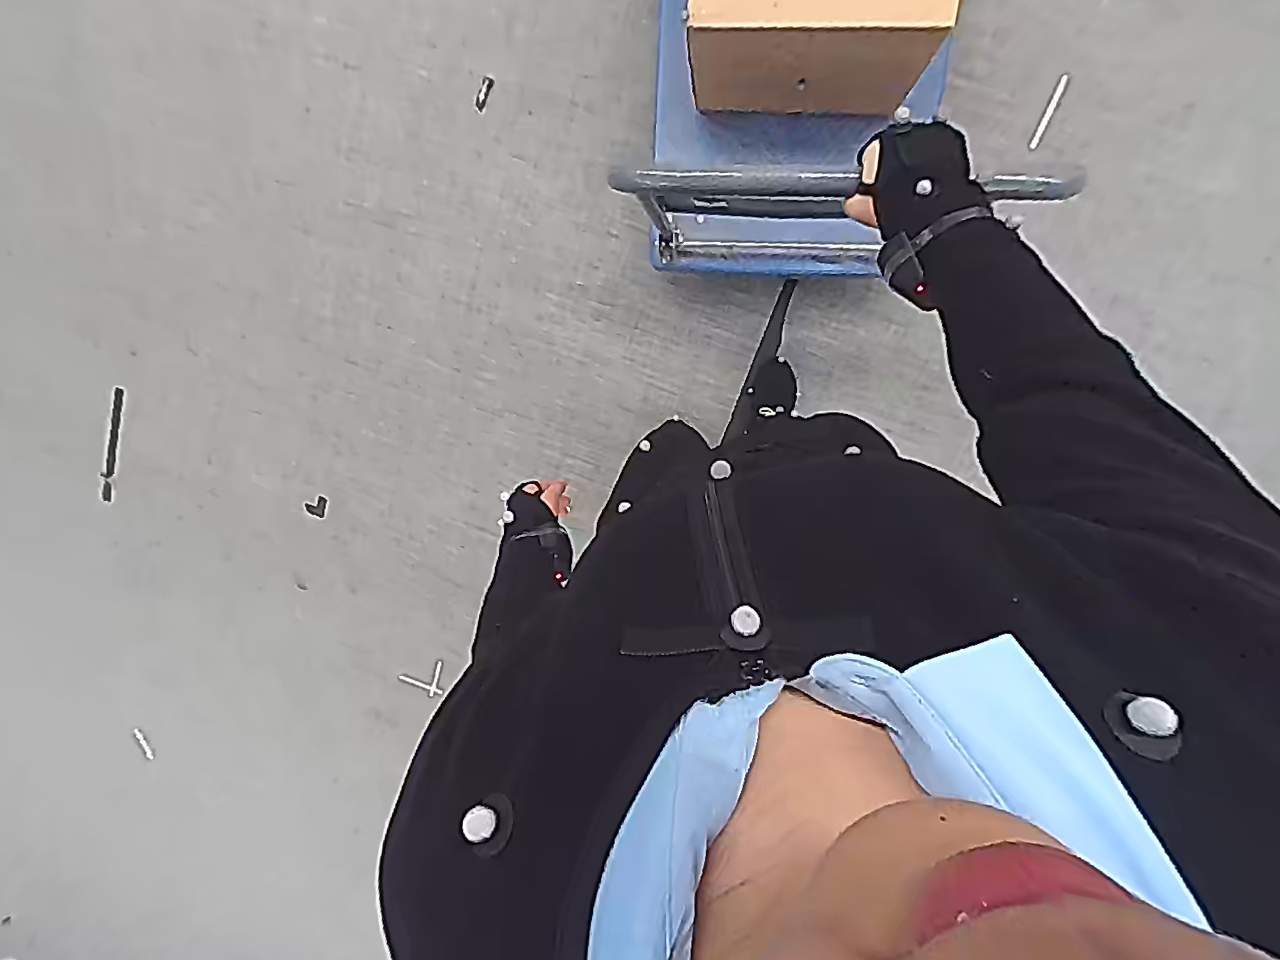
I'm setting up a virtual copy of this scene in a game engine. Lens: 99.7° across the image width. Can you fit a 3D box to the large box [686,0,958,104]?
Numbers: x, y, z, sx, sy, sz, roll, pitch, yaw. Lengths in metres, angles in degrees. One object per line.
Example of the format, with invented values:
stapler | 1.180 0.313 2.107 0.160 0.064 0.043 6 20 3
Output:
large box | 0.305 -0.882 0.926 0.408 0.320 0.320 7 103 9
